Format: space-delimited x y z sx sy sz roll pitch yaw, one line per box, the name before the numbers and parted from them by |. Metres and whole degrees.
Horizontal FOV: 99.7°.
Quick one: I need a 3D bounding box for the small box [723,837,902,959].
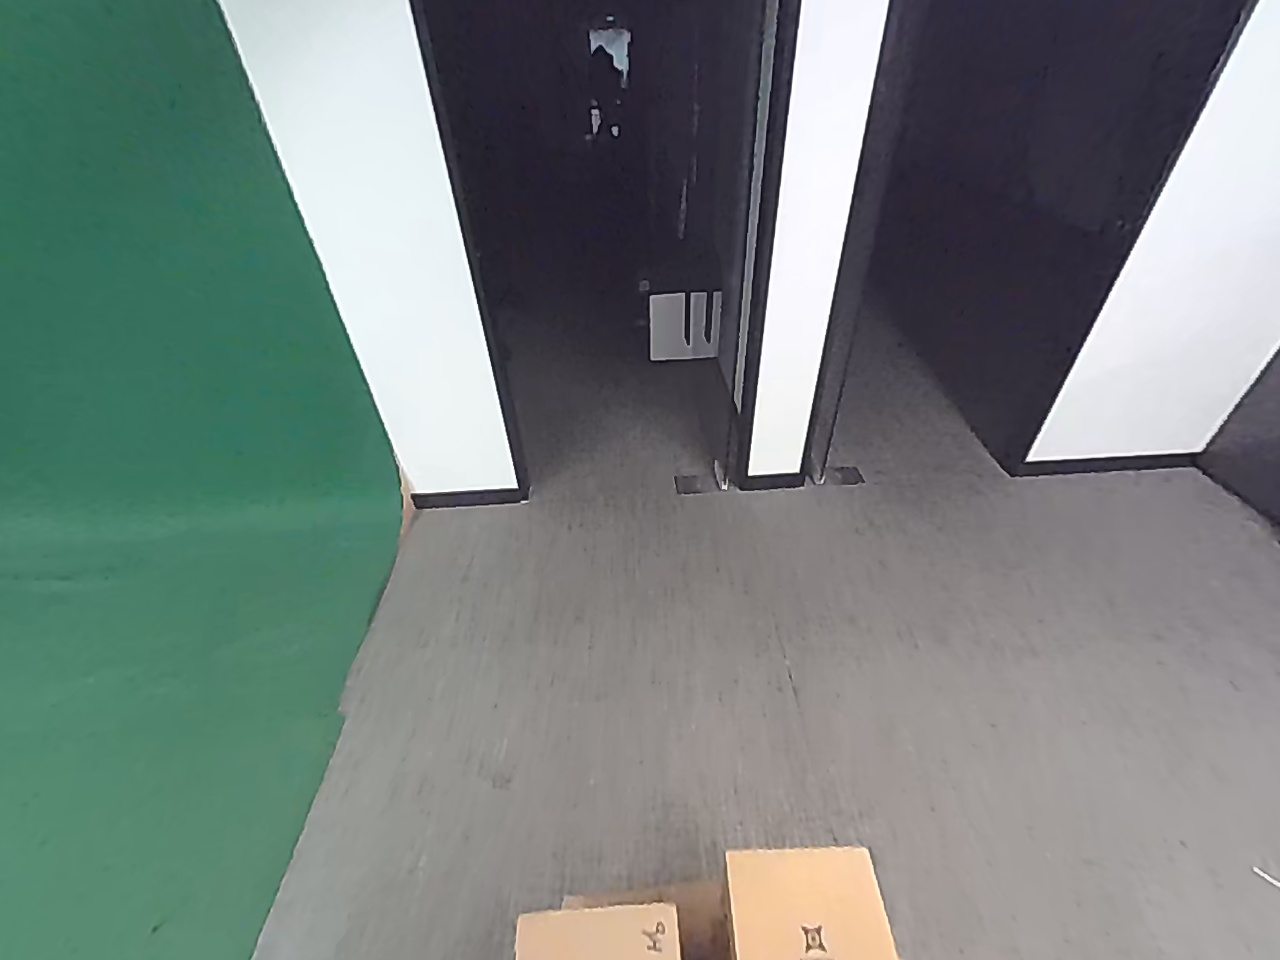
small box | 0.188 0.539 0.618 0.168 0.176 0.179 -2 38 2
